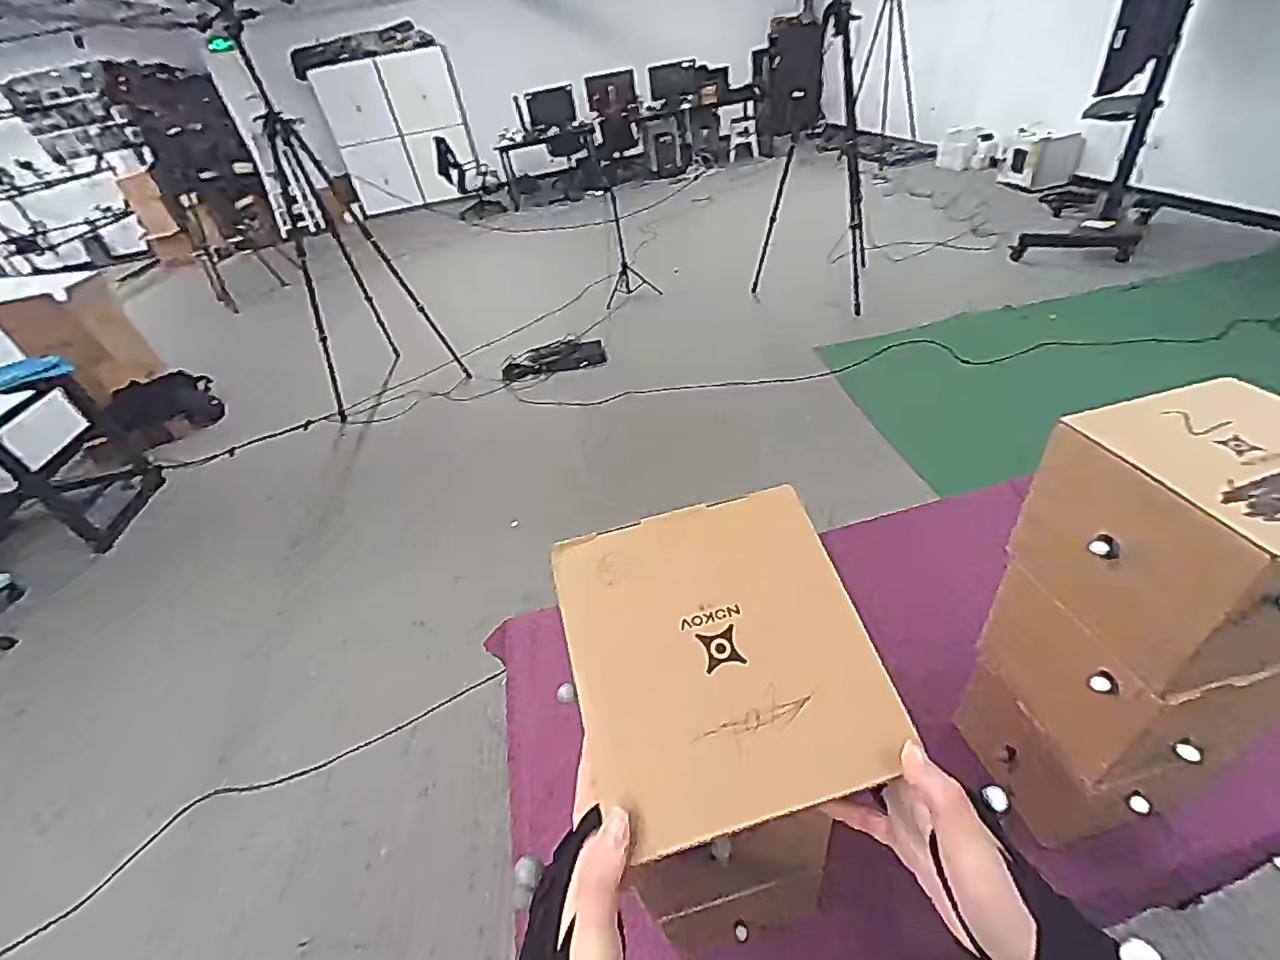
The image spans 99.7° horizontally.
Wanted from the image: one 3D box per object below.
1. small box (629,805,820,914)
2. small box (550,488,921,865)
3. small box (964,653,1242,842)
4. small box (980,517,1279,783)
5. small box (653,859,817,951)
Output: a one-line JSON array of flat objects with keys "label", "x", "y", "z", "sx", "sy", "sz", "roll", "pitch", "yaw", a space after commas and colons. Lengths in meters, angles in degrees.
[{"label": "small box", "x": 0.062, "y": 0.282, "z": 0.524, "sx": 0.179, "sy": 0.176, "sz": 0.168, "roll": -15, "pitch": 39, "yaw": -4}, {"label": "small box", "x": 0.043, "y": 0.134, "z": 0.369, "sx": 0.168, "sy": 0.176, "sz": 0.179, "roll": -13, "pitch": 59, "yaw": -6}, {"label": "small box", "x": 0.523, "y": 0.299, "z": 0.649, "sx": 0.179, "sy": 0.176, "sz": 0.168, "roll": -16, "pitch": 39, "yaw": -4}, {"label": "small box", "x": 0.491, "y": 0.170, "z": 0.553, "sx": 0.168, "sy": 0.176, "sz": 0.179, "roll": -14, "pitch": 39, "yaw": -4}, {"label": "small box", "x": 0.090, "y": 0.408, "z": 0.627, "sx": 0.168, "sy": 0.176, "sz": 0.179, "roll": -14, "pitch": 38, "yaw": -4}]
